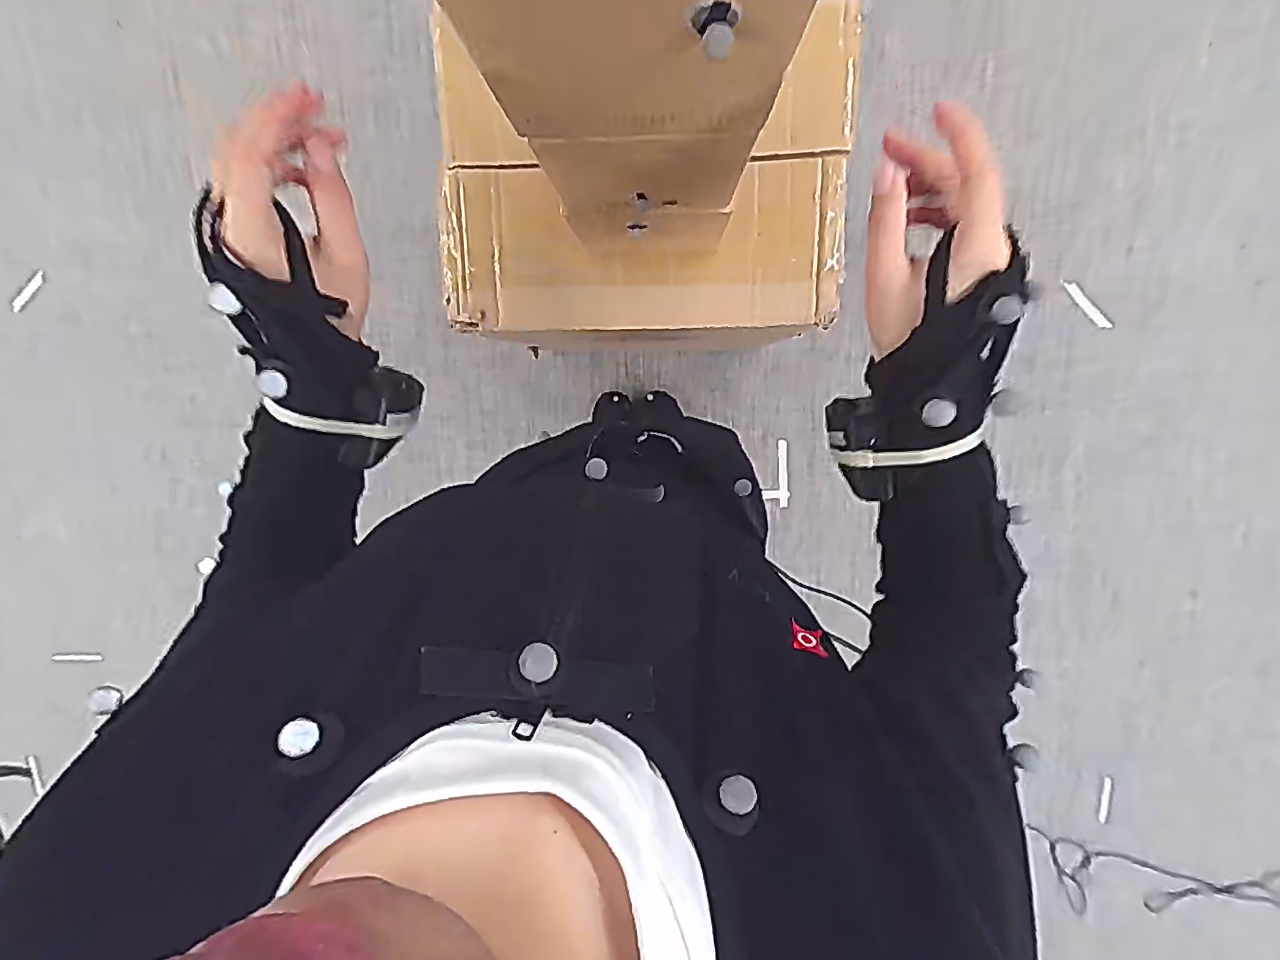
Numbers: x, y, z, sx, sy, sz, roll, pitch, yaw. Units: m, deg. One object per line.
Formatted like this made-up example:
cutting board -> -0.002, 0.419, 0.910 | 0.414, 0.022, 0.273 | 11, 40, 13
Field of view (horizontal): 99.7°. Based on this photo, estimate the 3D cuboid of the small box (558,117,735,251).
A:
small box -> 0.009, -0.361, 0.606 | 0.179, 0.176, 0.168 | 0, 101, 2

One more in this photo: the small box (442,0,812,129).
small box -> -0.004, -0.309, 0.281 | 0.179, 0.176, 0.168 | 0, 100, 3
